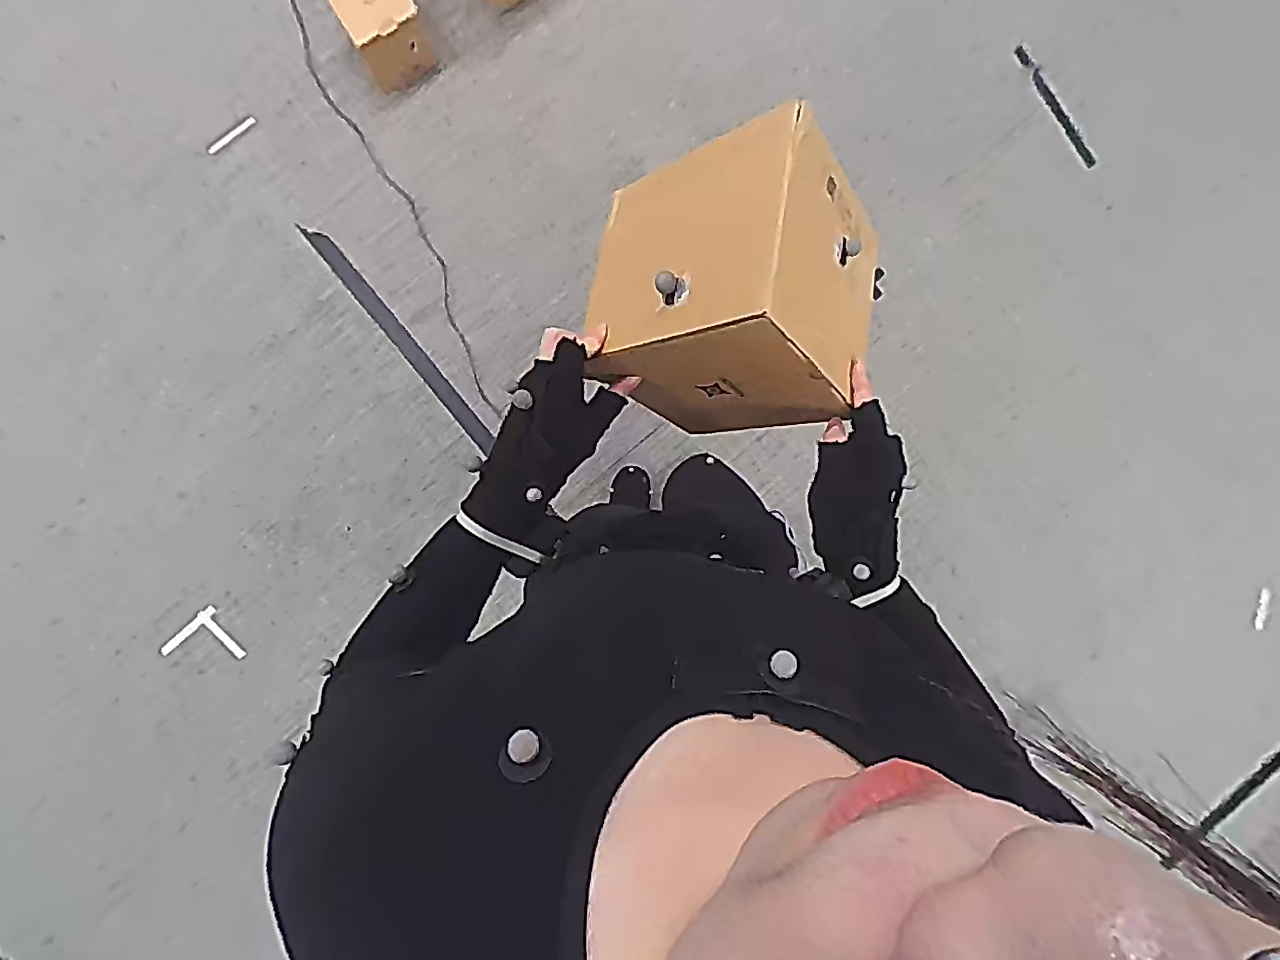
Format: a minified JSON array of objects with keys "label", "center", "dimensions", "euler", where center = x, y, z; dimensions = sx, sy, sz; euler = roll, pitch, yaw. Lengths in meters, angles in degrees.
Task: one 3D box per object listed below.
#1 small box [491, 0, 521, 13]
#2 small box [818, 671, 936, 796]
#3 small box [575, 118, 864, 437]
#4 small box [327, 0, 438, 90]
[{"label":"small box","center":[-0.334,-1.319,1.328],"dimensions":[0.179,0.176,0.168],"euler":[-36,95,-2]},{"label":"small box","center":[0.553,0.599,1.297],"dimensions":[0.179,0.176,0.168],"euler":[-35,95,-3]},{"label":"small box","center":[0.075,-0.150,0.462],"dimensions":[0.168,0.179,0.176],"euler":[25,69,-45]},{"label":"small box","center":[-0.624,-1.101,1.315],"dimensions":[0.168,0.176,0.179],"euler":[-33,94,-3]}]
